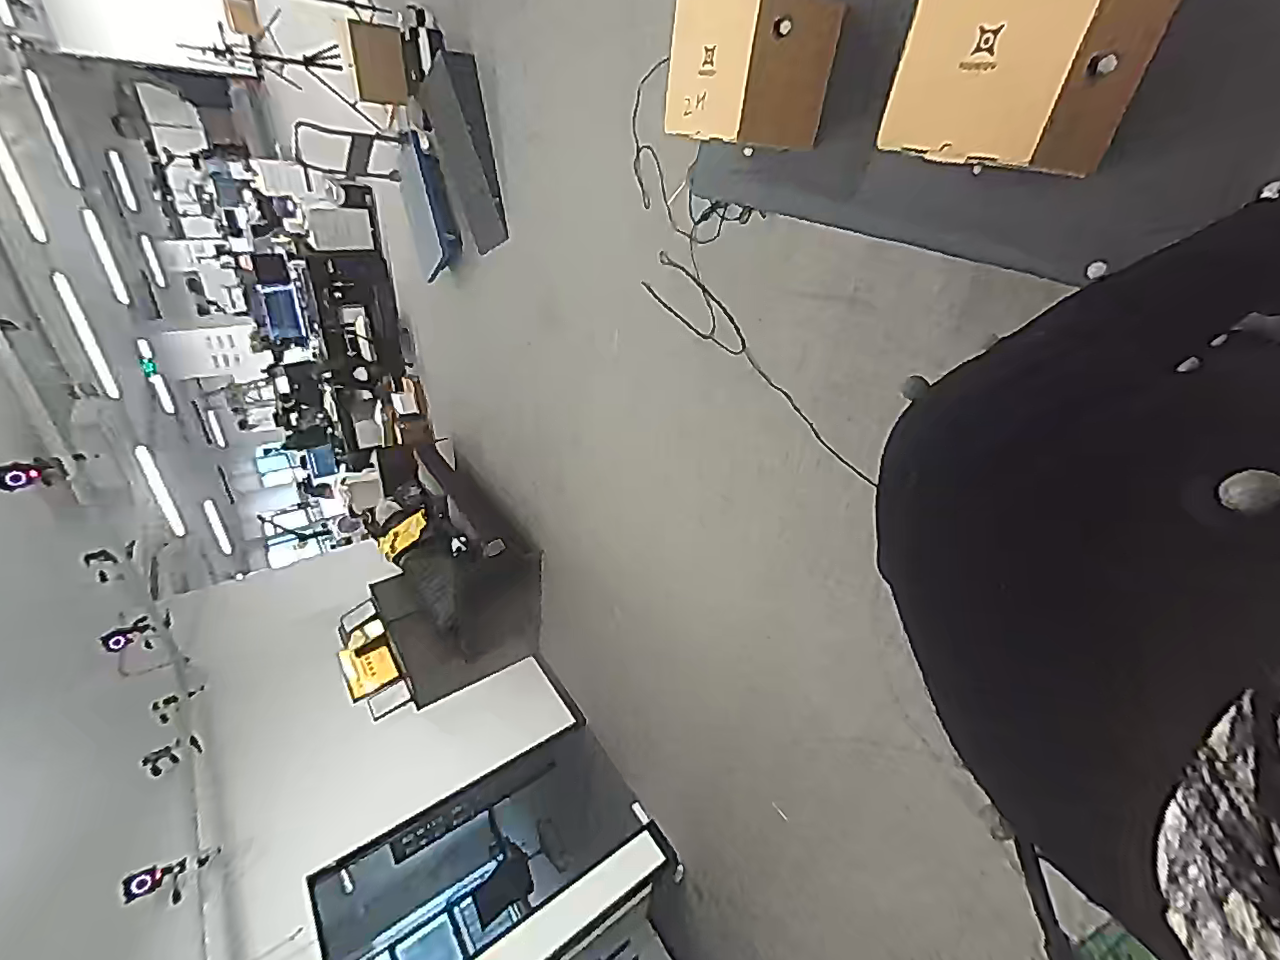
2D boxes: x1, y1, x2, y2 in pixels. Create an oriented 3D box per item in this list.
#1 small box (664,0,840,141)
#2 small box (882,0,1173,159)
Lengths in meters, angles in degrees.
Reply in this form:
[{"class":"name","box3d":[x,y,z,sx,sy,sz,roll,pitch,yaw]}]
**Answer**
[{"class":"small box","box3d":[0.159,-0.605,0.780,0.168,0.176,0.179,39,136,40]},{"class":"small box","box3d":[0.384,-0.432,0.536,0.168,0.176,0.179,40,136,39]}]
